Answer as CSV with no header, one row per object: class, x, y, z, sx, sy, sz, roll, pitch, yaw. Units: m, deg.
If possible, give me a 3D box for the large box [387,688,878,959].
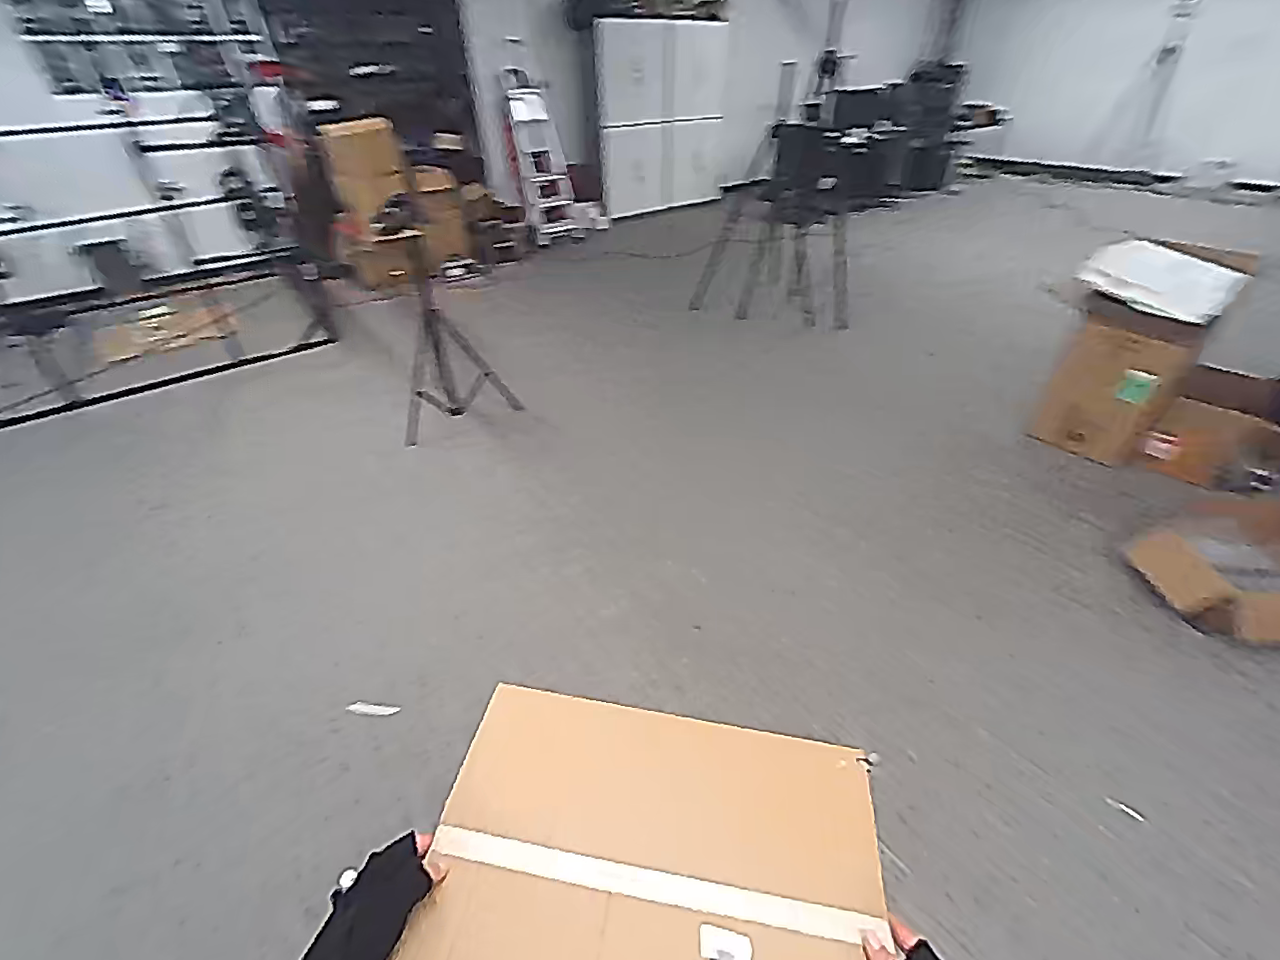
large box,-0.002,0.470,0.577,0.408,0.320,0.320,8,40,6
